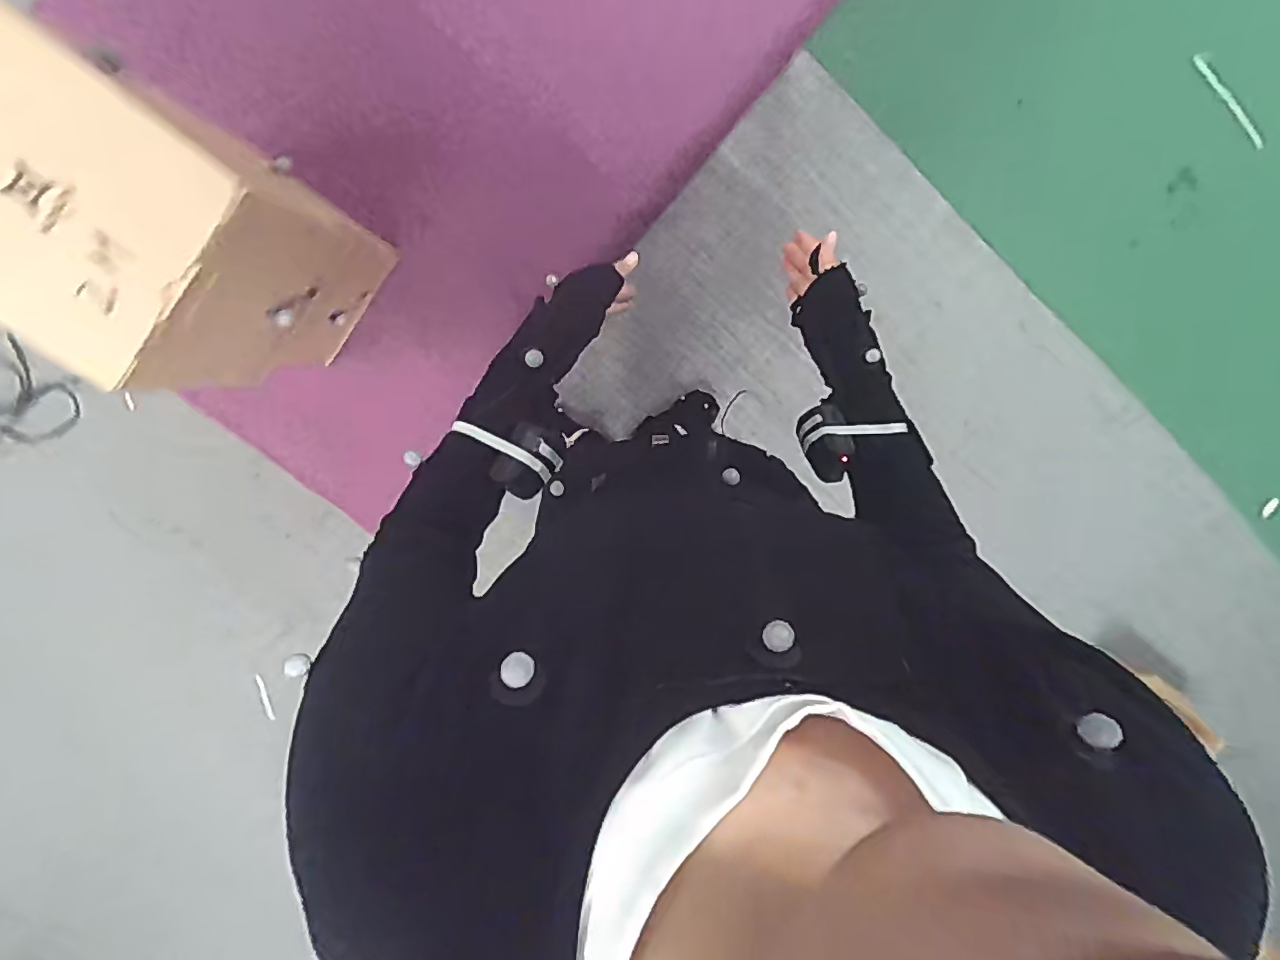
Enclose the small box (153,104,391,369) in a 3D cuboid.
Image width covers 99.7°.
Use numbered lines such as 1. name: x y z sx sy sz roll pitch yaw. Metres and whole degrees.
1. small box: -0.402 -0.227 0.565 0.179 0.176 0.168 35 96 -12
